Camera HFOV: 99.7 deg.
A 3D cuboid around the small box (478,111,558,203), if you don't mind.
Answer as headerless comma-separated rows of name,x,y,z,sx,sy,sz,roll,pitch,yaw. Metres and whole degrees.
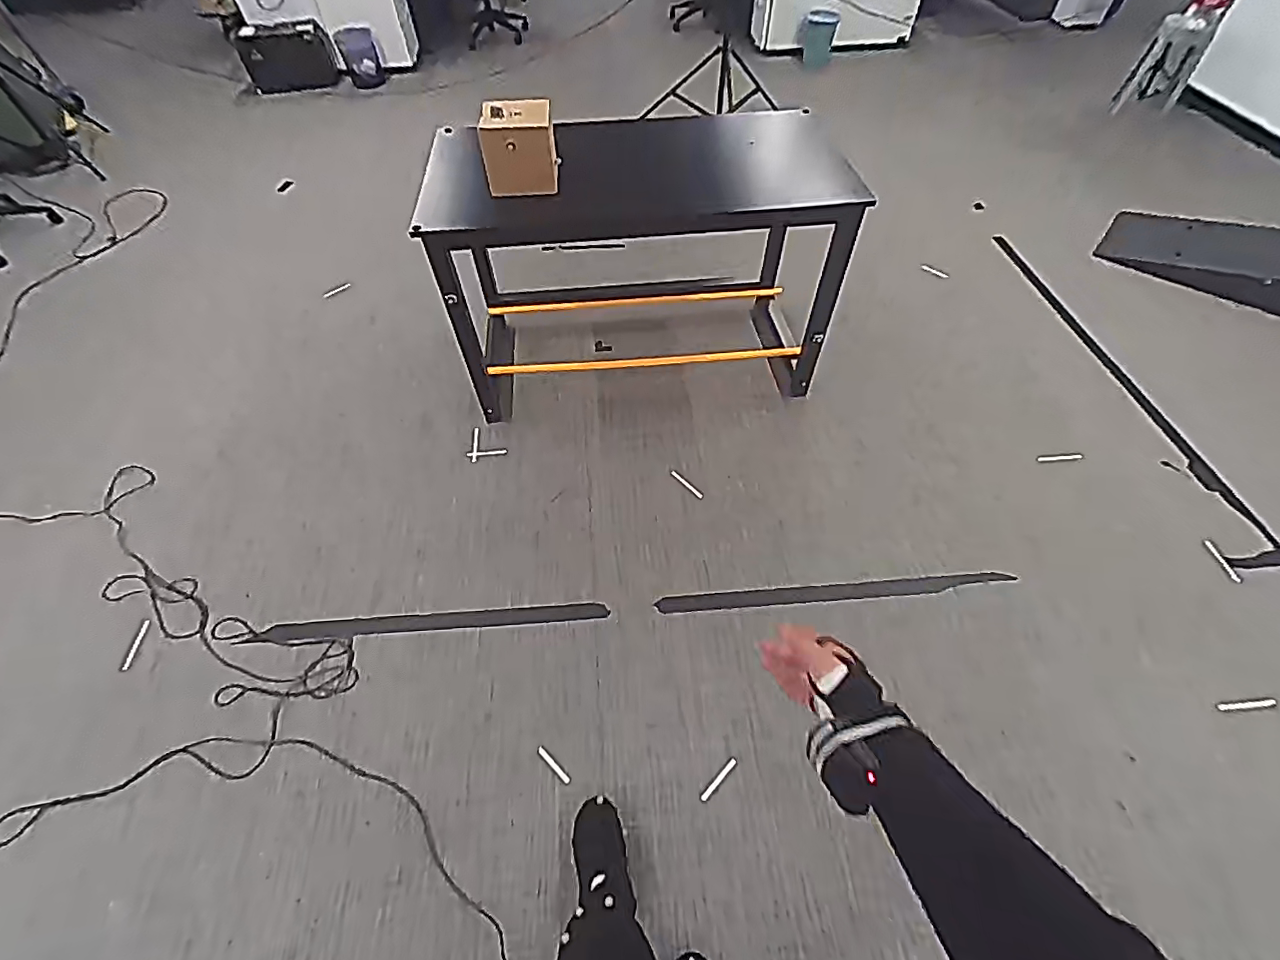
small box,-0.321,-0.864,1.455,0.179,0.176,0.168,-4,54,-3
